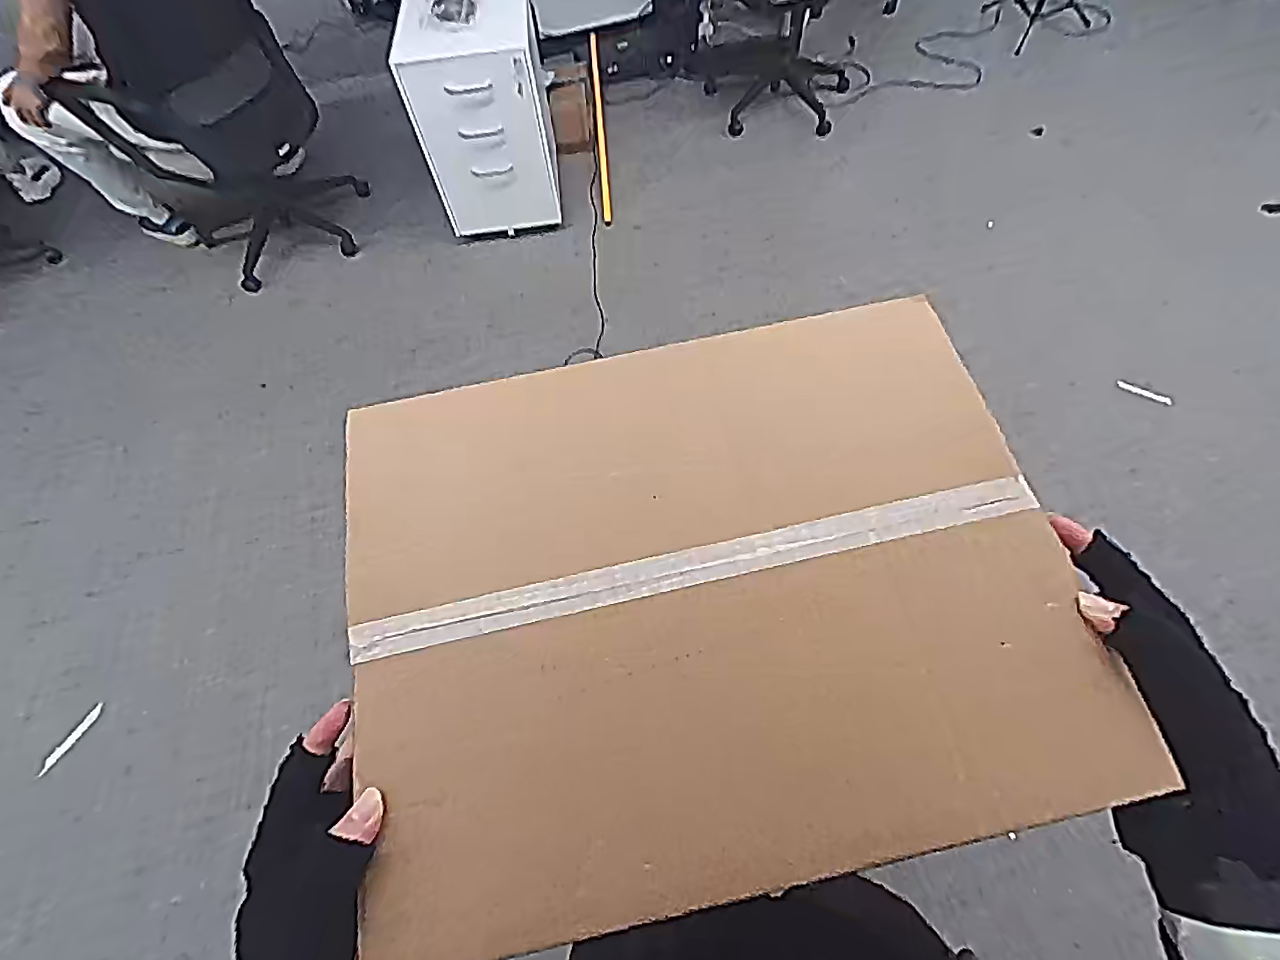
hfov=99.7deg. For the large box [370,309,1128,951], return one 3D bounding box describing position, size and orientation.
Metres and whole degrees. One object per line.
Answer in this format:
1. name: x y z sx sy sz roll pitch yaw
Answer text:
1. large box: 0.040 0.111 0.469 0.408 0.320 0.320 -12 68 -3
